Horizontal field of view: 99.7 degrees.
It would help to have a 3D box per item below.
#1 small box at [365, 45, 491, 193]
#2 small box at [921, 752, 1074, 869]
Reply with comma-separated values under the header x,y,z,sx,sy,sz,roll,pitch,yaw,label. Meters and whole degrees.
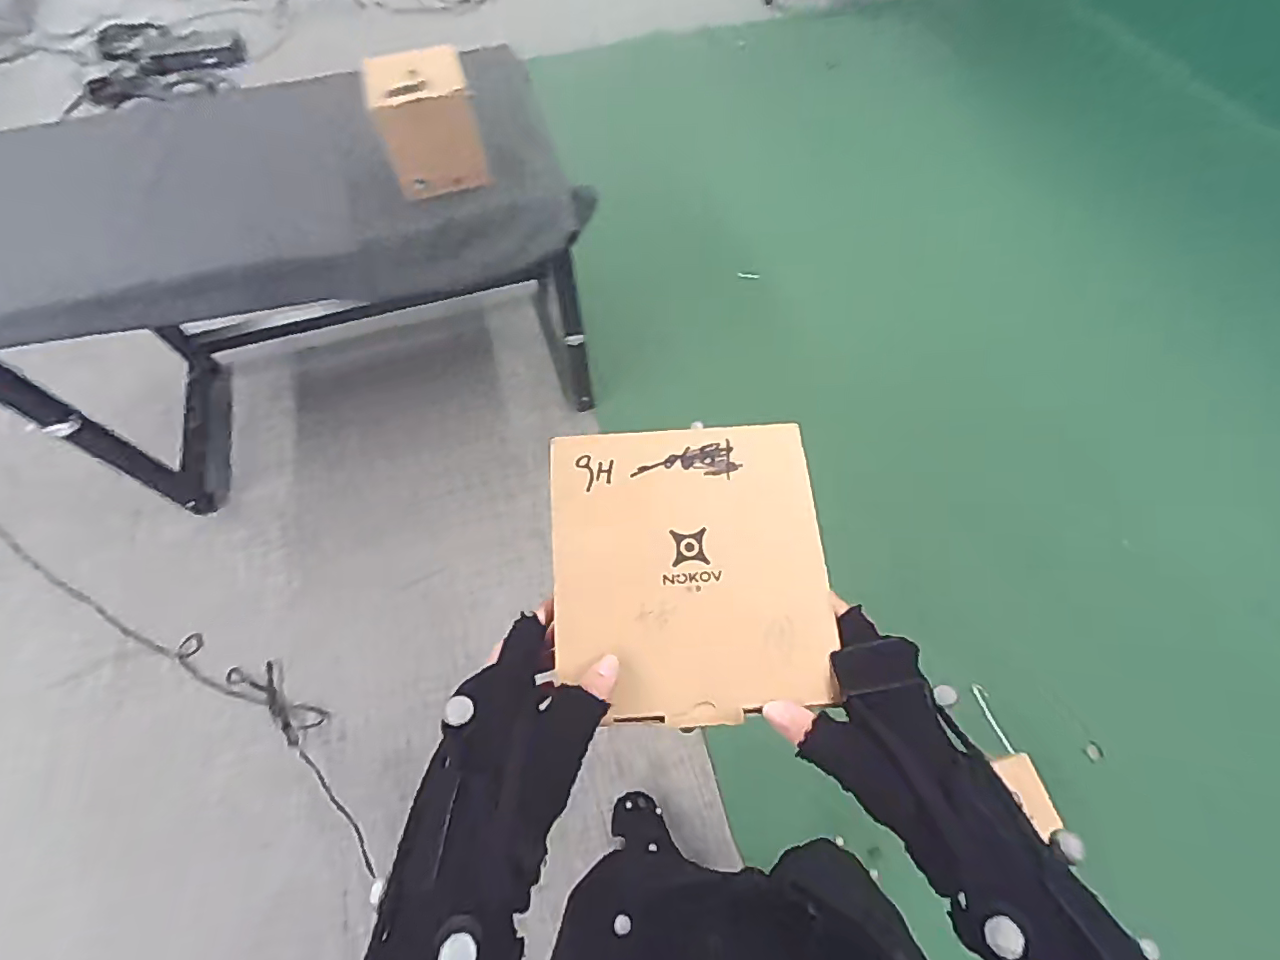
x,y,z,sx,sy,sz,roll,pitch,yaw,label
-0.389,-0.663,1.009,0.168,0.176,0.179,-16,61,-7,small box
0.702,0.658,1.093,0.179,0.176,0.168,-10,64,-5,small box
